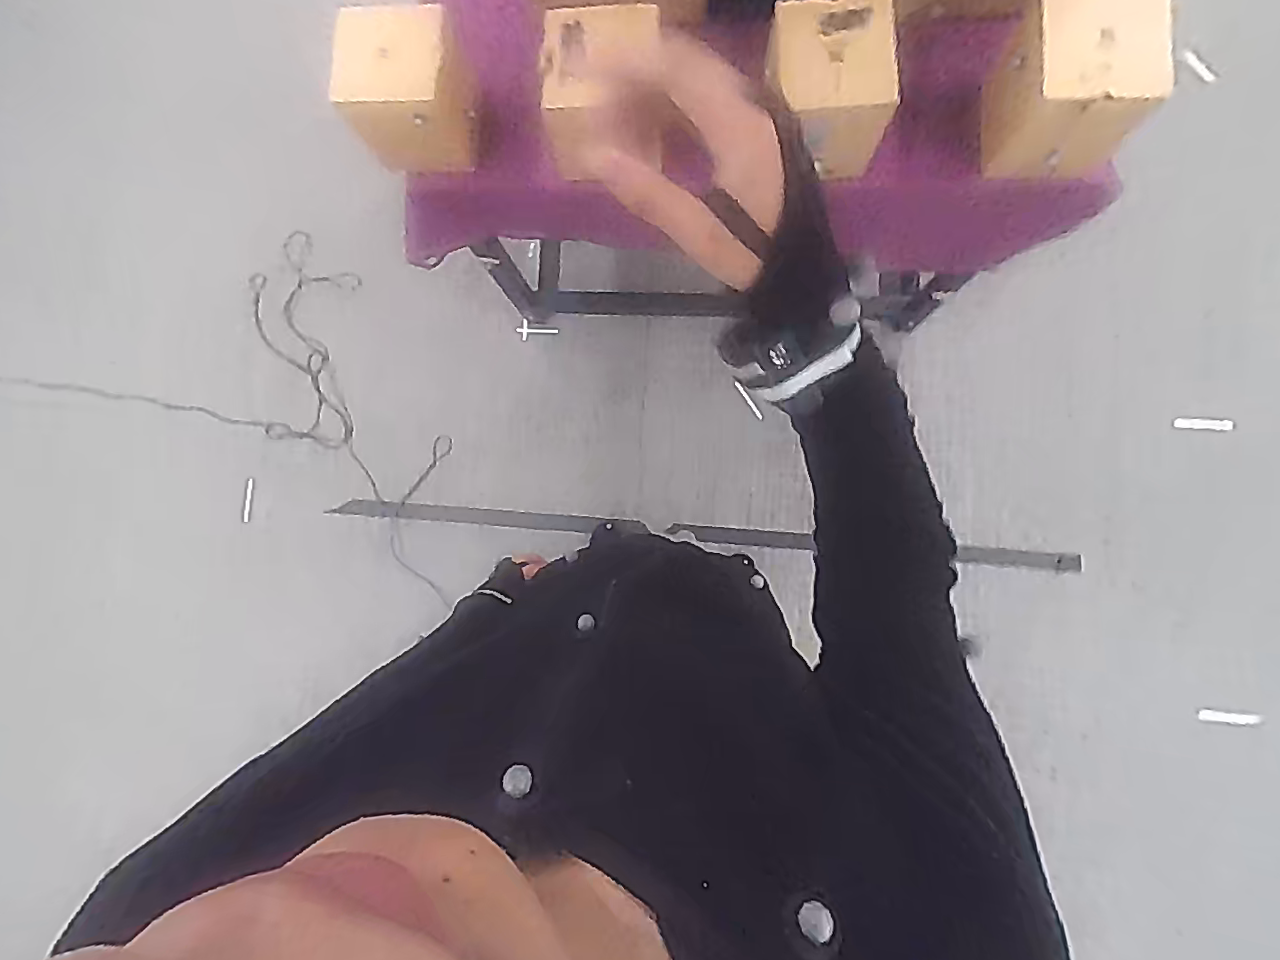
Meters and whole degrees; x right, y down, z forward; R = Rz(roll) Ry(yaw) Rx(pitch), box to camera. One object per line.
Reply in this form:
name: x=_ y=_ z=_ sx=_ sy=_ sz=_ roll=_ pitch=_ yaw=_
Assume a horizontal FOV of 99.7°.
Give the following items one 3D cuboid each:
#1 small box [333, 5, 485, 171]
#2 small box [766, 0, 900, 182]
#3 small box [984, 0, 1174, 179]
small box: x=-0.384 y=-0.658 z=0.924 sx=0.179 sy=0.176 sz=0.168 roll=2 pitch=85 yaw=4
small box: x=0.295 y=-0.610 z=0.860 sx=0.168 sy=0.176 sz=0.179 roll=-1 pitch=85 yaw=6
small box: x=0.653 y=-0.595 z=0.824 sx=0.168 sy=0.176 sz=0.179 roll=4 pitch=85 yaw=7
